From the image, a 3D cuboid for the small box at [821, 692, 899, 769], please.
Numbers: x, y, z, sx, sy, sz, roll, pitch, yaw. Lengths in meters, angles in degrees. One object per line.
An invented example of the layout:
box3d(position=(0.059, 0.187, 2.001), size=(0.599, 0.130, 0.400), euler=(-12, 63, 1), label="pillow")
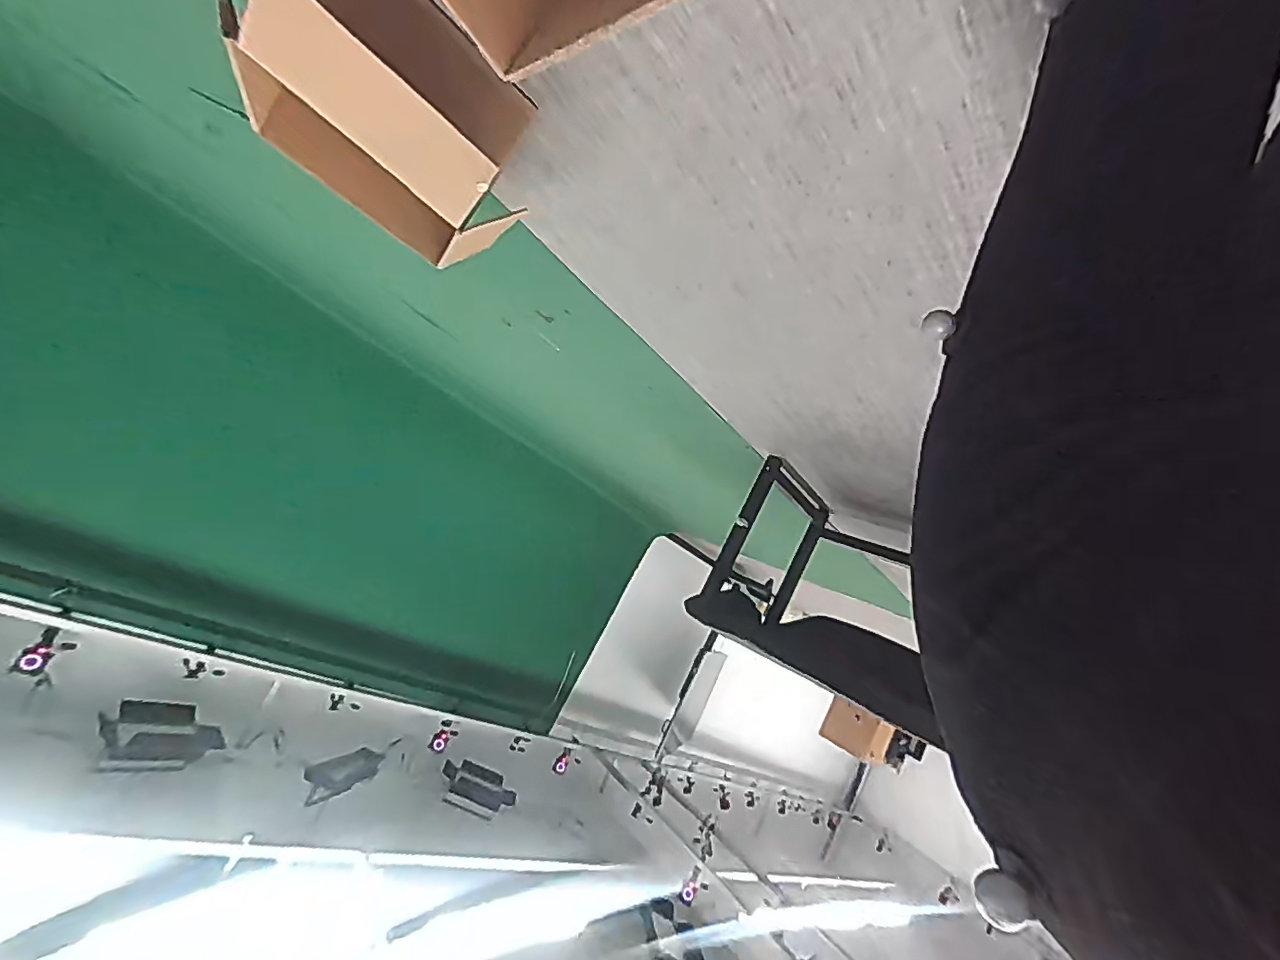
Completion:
box3d(position=(0.761, 0.858, 1.857), size=(0.168, 0.176, 0.179), euler=(18, 165, 48), label="small box")
